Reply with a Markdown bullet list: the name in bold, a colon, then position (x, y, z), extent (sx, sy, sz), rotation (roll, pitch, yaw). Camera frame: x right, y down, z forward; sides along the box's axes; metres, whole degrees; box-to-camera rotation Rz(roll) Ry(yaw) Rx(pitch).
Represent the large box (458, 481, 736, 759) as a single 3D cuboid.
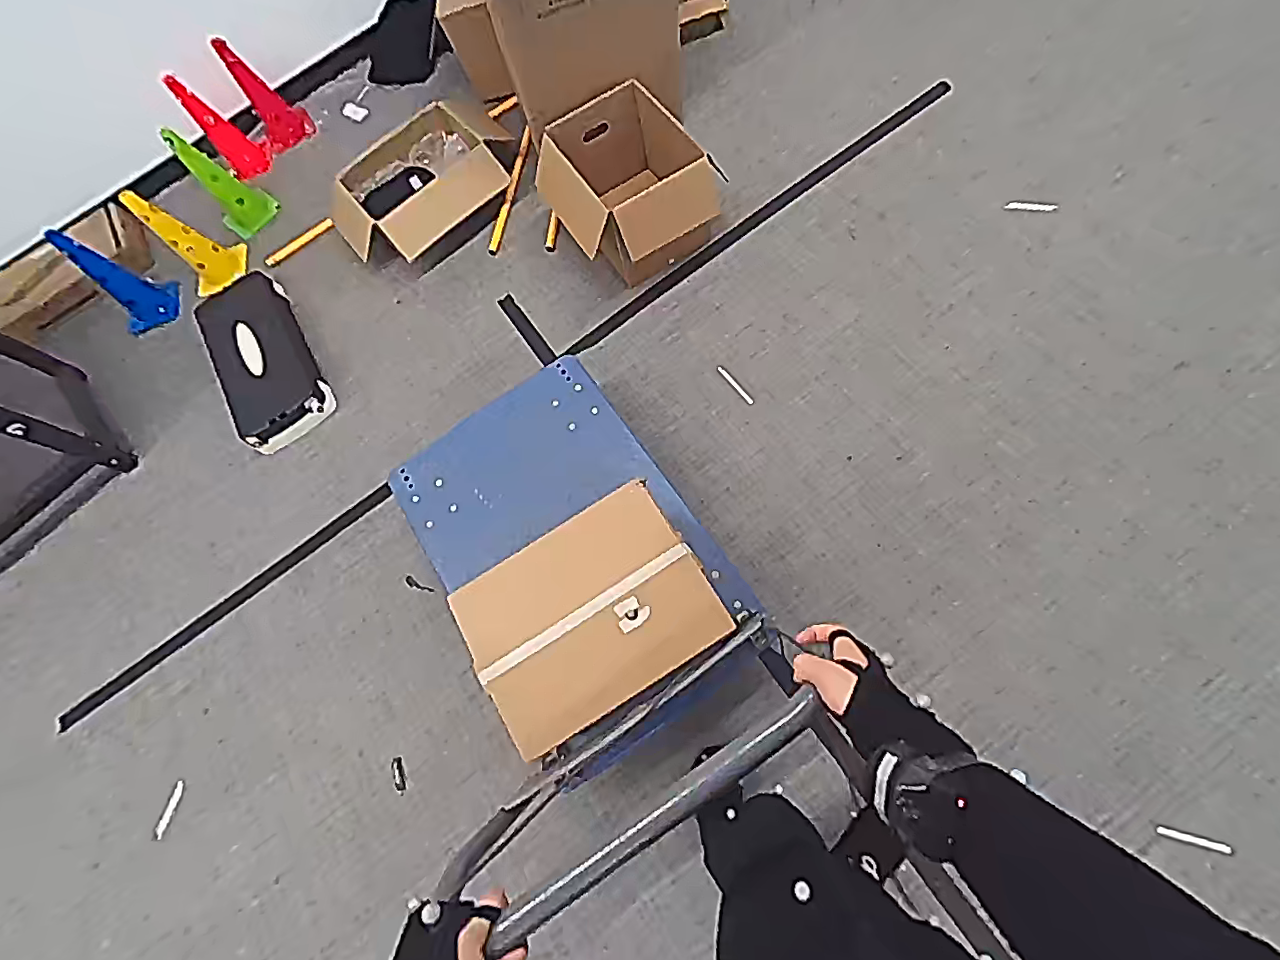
- **large box**: position (-0.065, 0.271, 1.063), extent (0.408, 0.320, 0.320), rotation (-32, 72, -3)
